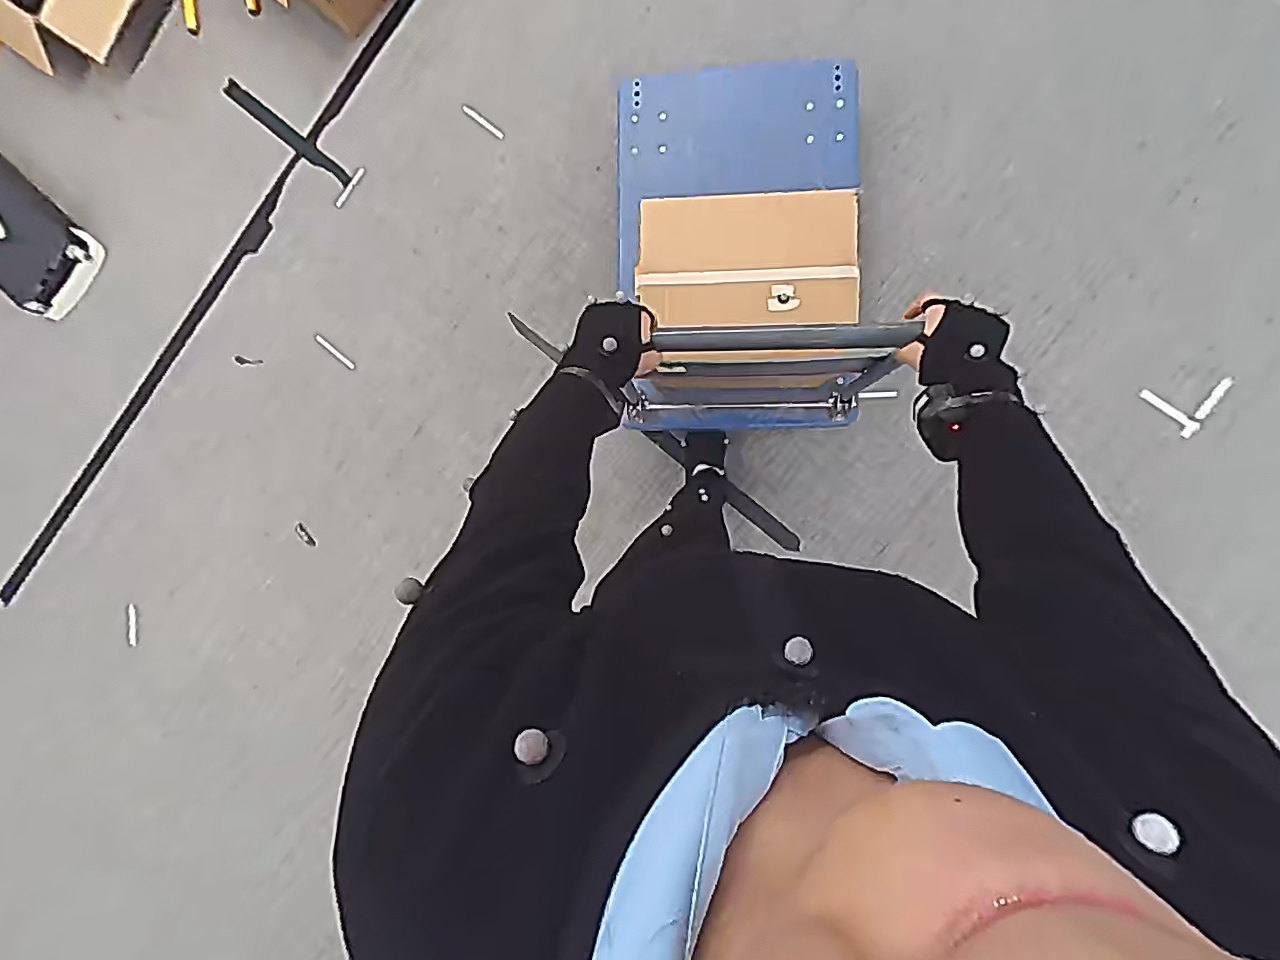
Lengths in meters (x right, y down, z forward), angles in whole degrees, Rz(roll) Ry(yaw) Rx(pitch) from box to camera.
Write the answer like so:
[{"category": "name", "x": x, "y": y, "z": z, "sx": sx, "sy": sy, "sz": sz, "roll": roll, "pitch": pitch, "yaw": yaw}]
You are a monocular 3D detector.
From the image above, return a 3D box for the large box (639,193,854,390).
[{"category": "large box", "x": 0.208, "y": -0.377, "z": 1.165, "sx": 0.408, "sy": 0.320, "sz": 0.320, "roll": 0, "pitch": 91, "yaw": 5}]
